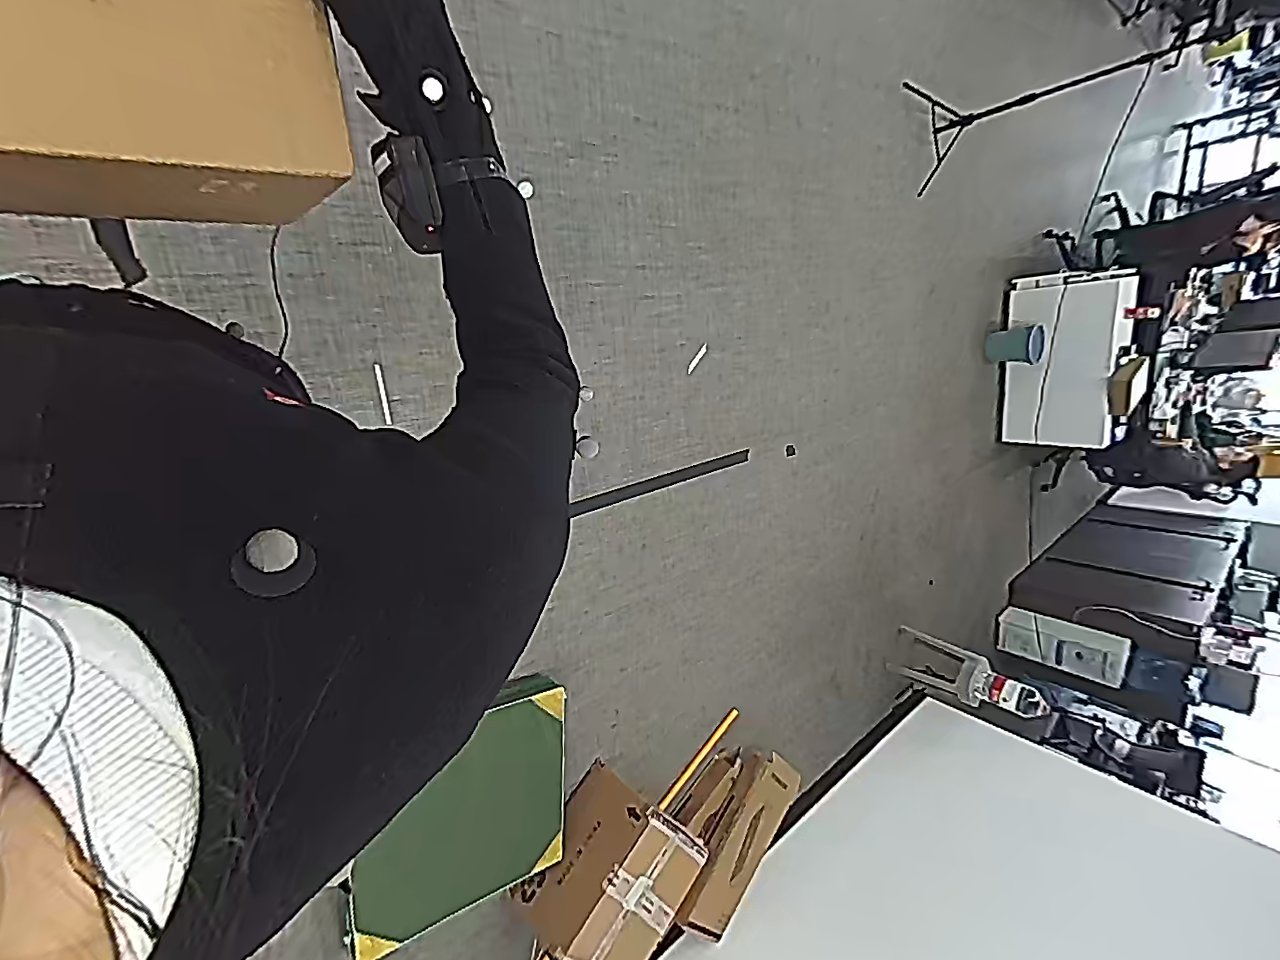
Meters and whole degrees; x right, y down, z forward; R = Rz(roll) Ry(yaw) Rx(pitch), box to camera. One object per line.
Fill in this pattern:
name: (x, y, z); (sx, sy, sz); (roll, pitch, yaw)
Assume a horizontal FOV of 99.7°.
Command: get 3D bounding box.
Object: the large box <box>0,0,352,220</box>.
large box: (-0.457, -0.344, 0.324); (0.408, 0.320, 0.320); (-18, 116, -36)
